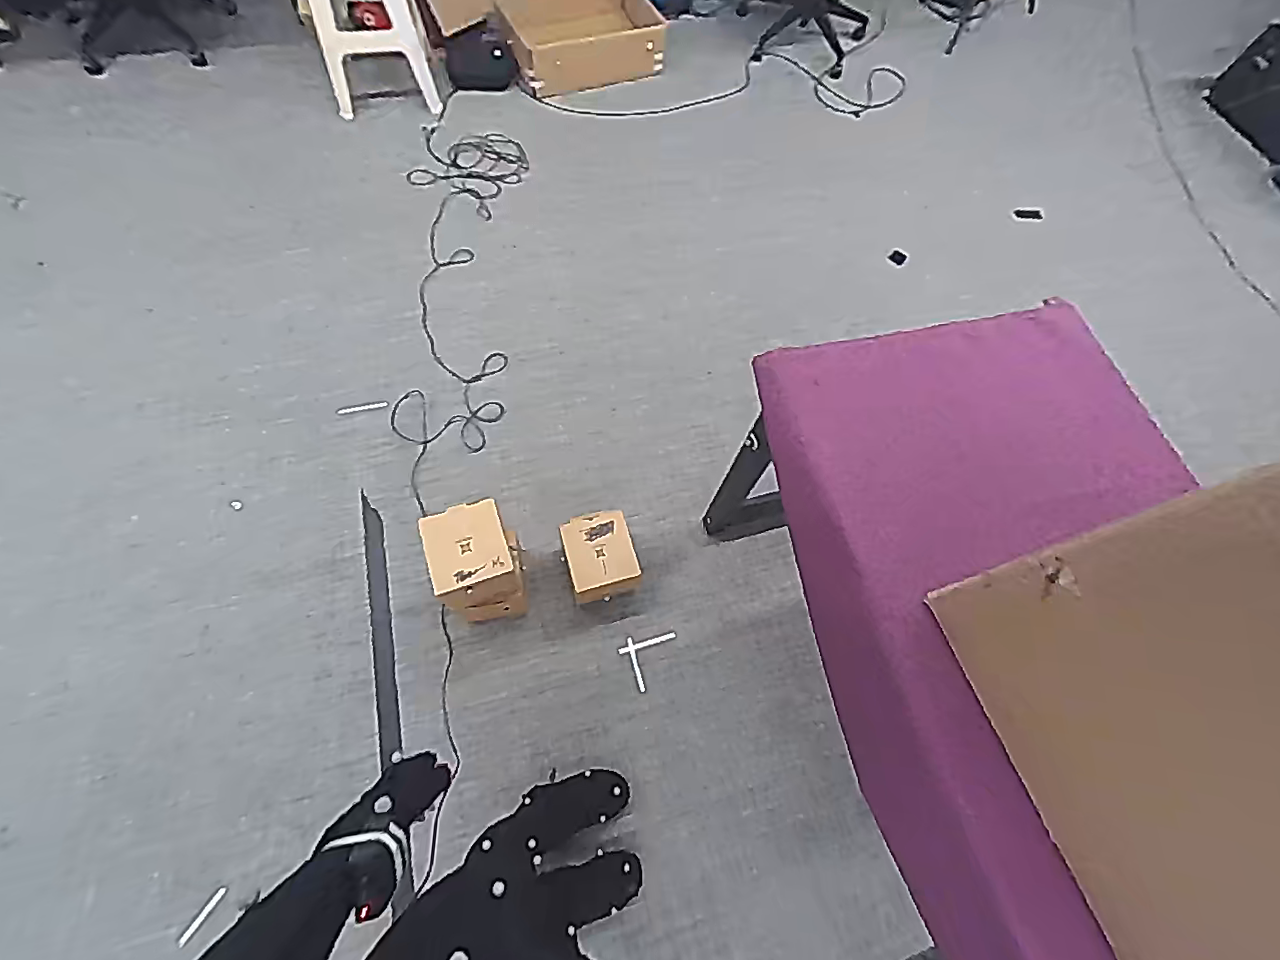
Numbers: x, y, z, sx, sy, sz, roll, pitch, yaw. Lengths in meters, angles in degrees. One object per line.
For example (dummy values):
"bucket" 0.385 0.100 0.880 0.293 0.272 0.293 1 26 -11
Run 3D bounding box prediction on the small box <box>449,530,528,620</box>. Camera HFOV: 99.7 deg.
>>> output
"small box" -0.377 0.244 1.352 0.168 0.176 0.179 -7 65 -10

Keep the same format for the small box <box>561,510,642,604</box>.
"small box" -0.103 0.202 1.393 0.168 0.176 0.179 -14 69 -11

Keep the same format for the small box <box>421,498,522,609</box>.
"small box" -0.371 0.167 1.207 0.168 0.176 0.179 -17 68 -13
